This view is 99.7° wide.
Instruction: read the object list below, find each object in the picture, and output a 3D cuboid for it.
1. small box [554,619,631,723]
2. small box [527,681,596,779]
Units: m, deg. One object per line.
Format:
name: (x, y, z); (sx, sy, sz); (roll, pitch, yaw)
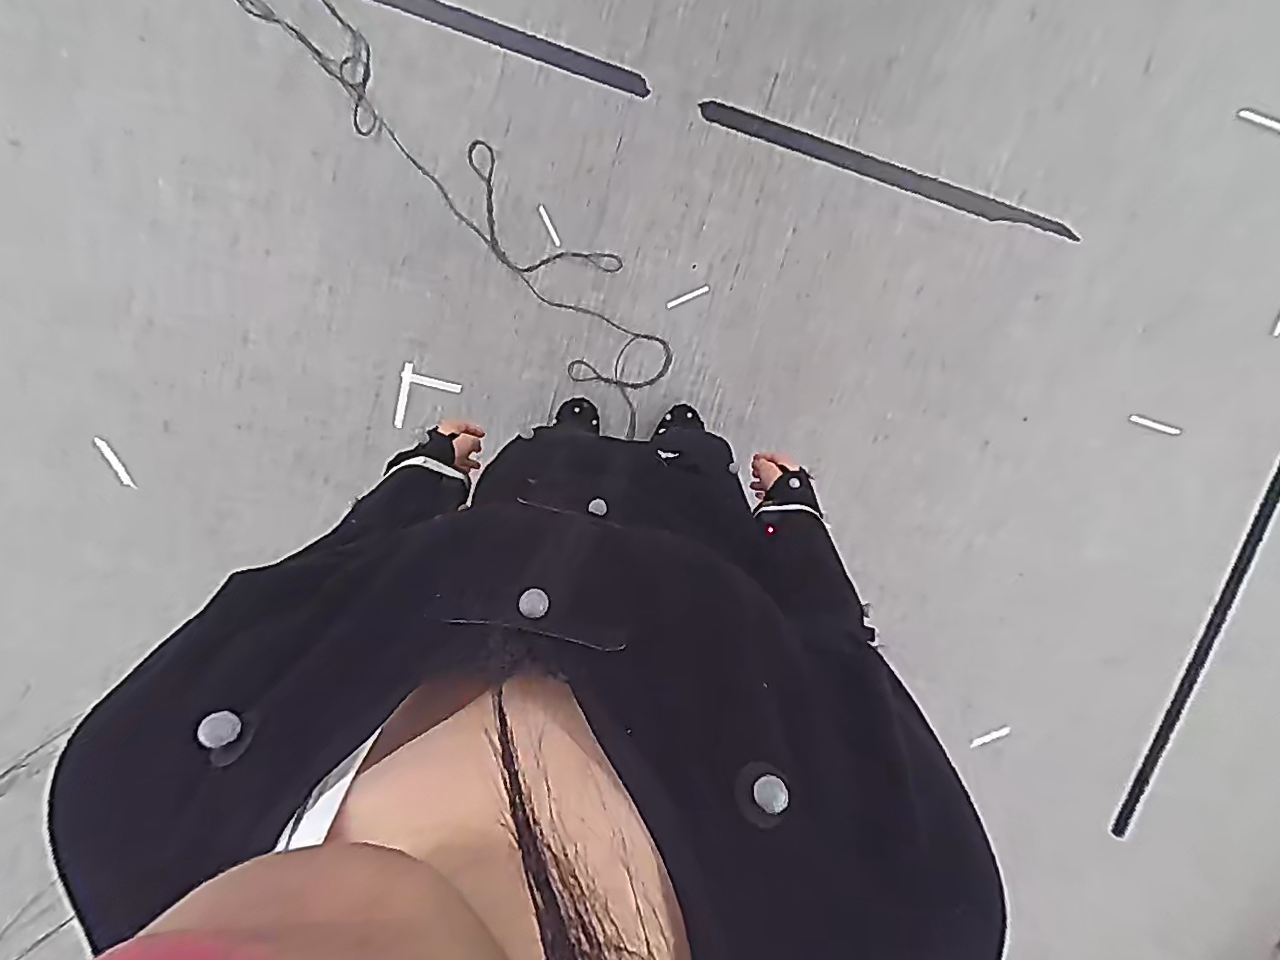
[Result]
small box: (-0.111, 0.449, 1.285); (0.168, 0.176, 0.179); (2, 98, -4)
small box: (-0.208, 0.681, 1.484); (0.168, 0.176, 0.179); (7, 98, -4)
